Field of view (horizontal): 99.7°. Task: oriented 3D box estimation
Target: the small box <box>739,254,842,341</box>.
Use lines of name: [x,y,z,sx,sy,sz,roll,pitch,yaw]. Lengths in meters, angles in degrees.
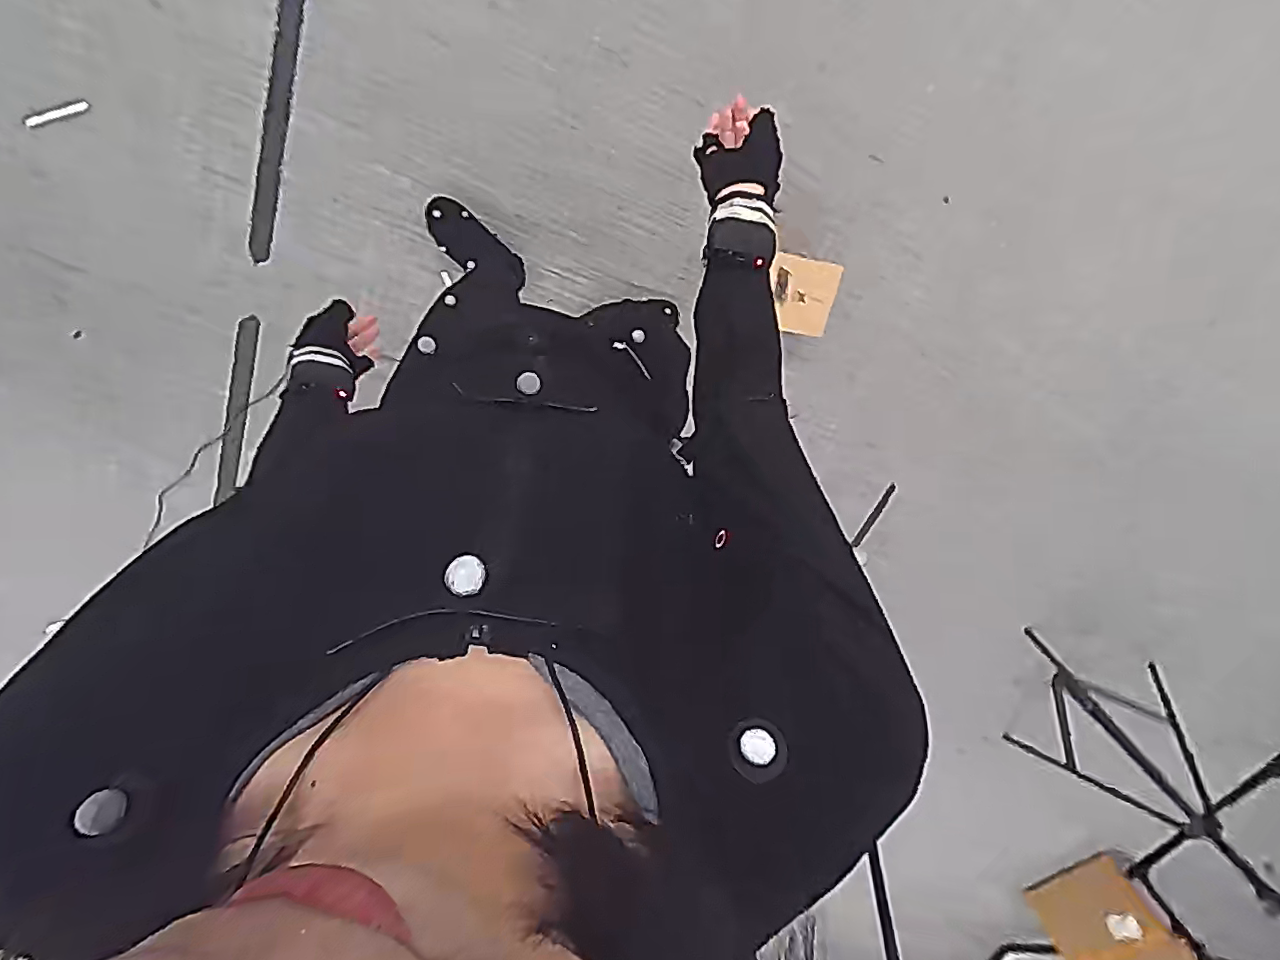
small box: [0.358,-0.453,1.328,0.179,0.176,0.168,9,115,-9]
